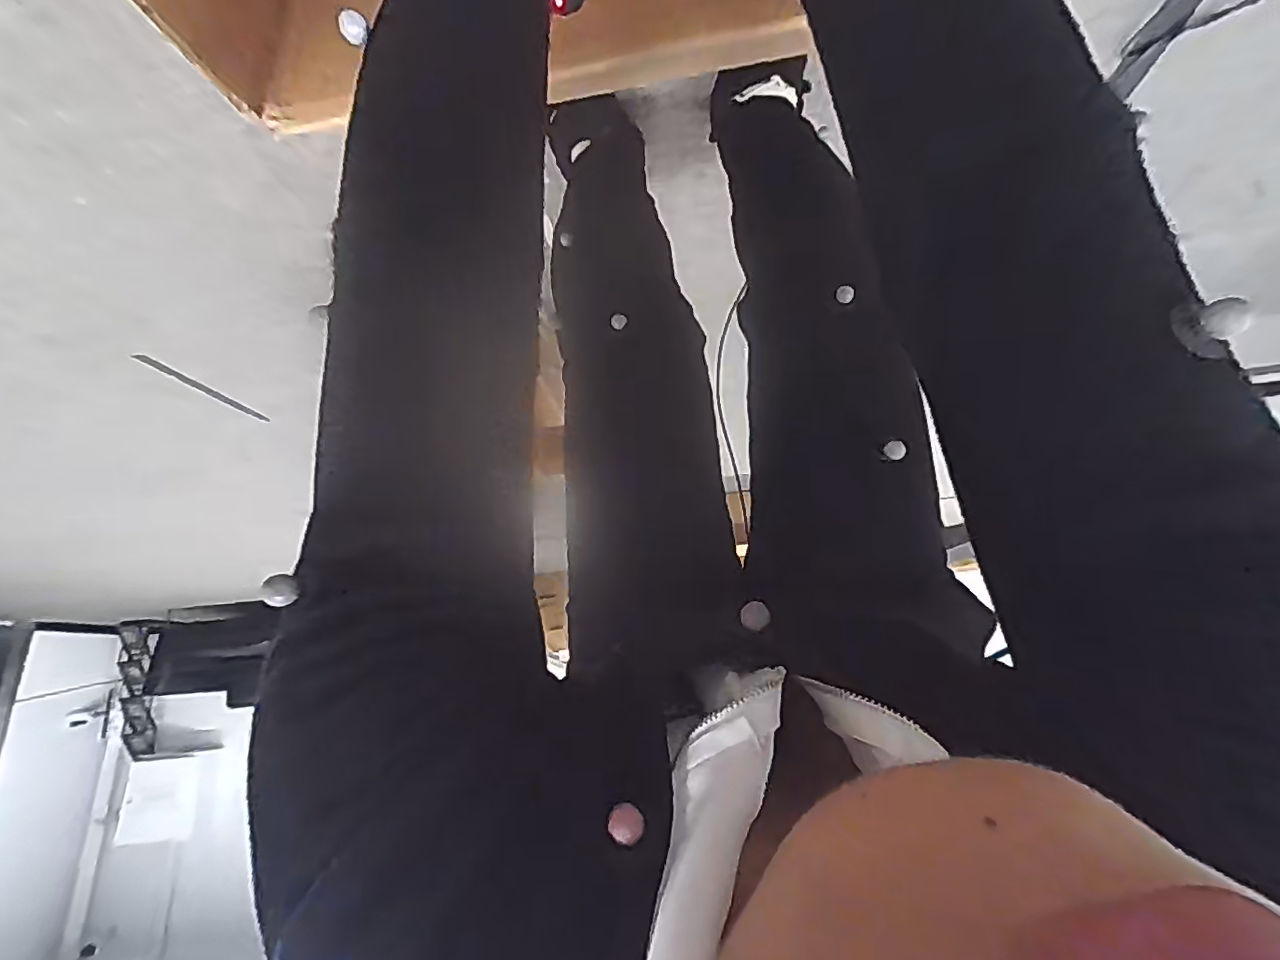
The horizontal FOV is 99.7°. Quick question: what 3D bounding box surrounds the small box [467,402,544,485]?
[{"bbox_3d":[-0.368,-0.098,1.504,0.168,0.176,0.179,-8,160,4],"label":"small box"}]
